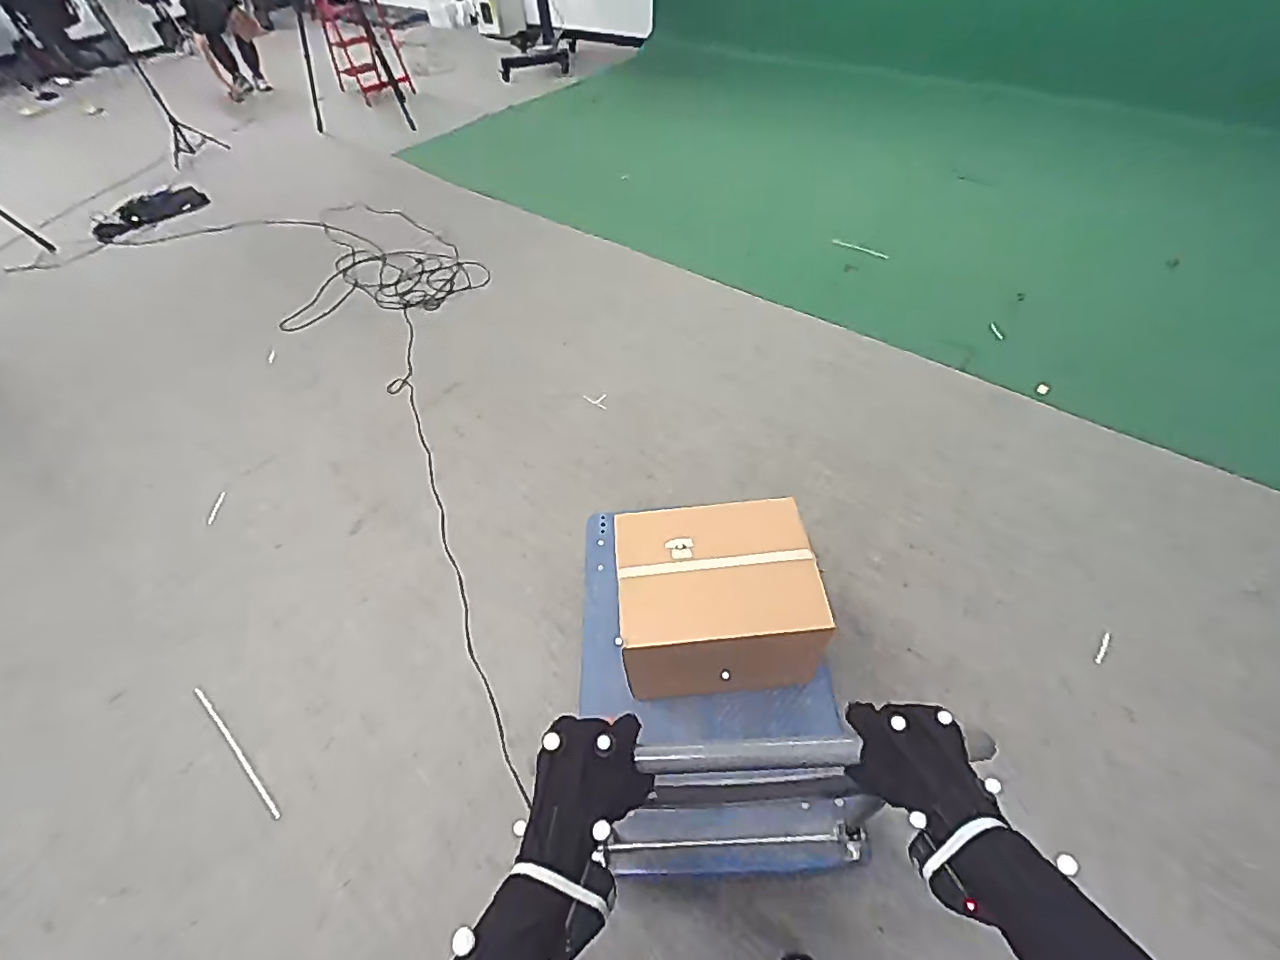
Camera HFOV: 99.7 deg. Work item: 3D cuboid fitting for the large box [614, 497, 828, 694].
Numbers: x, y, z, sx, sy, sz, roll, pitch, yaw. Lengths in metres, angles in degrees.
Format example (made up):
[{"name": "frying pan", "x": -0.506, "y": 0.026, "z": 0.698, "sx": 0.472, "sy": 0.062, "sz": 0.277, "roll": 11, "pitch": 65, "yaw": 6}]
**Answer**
[{"name": "large box", "x": 0.164, "y": 0.271, "z": 1.240, "sx": 0.408, "sy": 0.320, "sz": 0.320, "roll": -7, "pitch": 50, "yaw": 0}]
